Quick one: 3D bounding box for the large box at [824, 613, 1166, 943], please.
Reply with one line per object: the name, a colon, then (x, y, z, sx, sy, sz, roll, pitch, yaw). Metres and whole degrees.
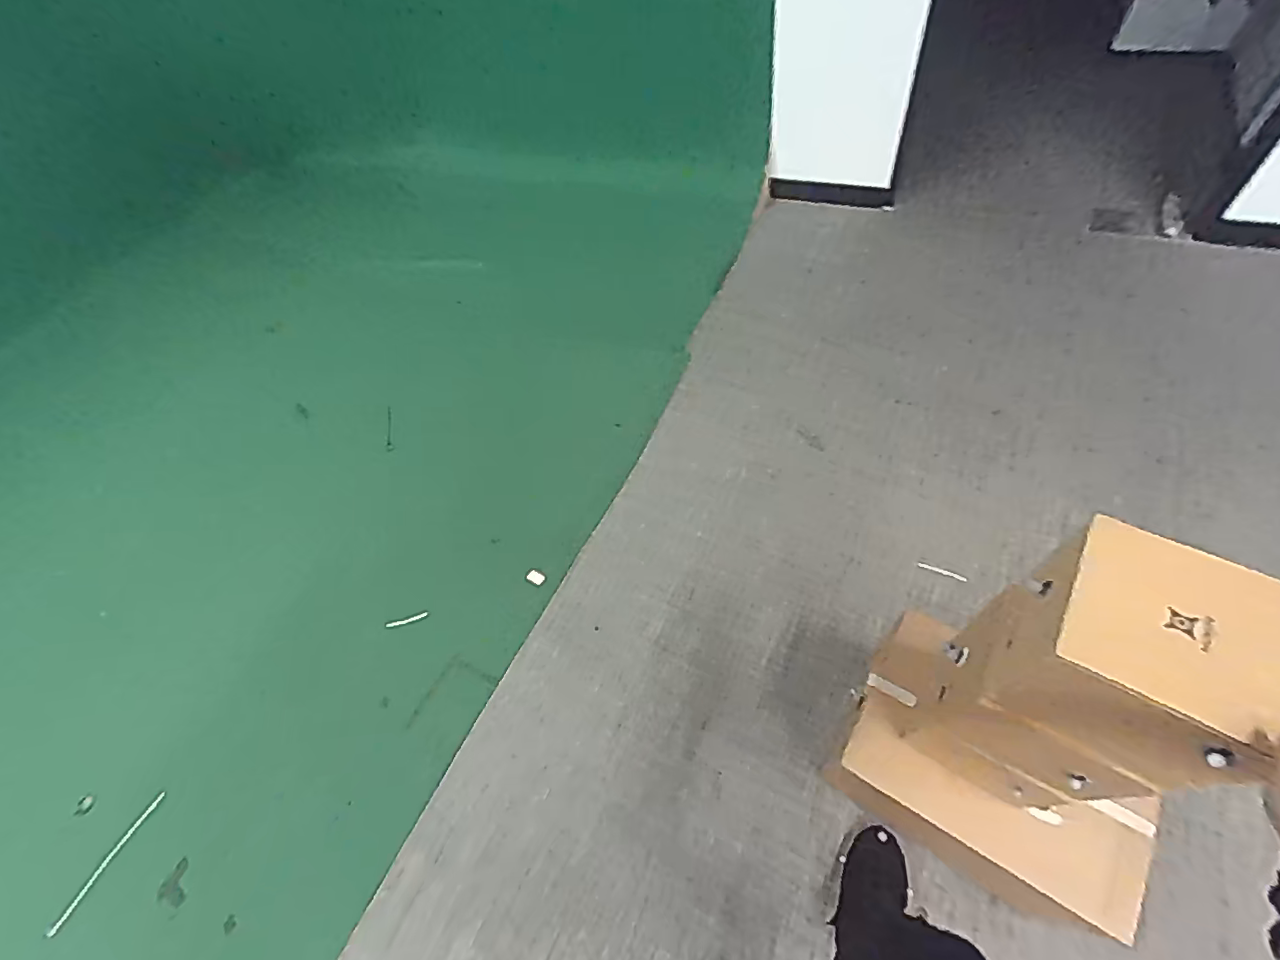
large box: (0.600, 0.509, 0.979, 0.408, 0.320, 0.320, 26, 67, 24)

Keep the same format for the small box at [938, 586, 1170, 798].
small box: (0.502, 0.264, 0.666, 0.179, 0.176, 0.168, 22, 63, 24)

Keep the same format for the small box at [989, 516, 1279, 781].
small box: (0.485, 0.171, 0.534, 0.179, 0.176, 0.168, 26, 64, 24)
